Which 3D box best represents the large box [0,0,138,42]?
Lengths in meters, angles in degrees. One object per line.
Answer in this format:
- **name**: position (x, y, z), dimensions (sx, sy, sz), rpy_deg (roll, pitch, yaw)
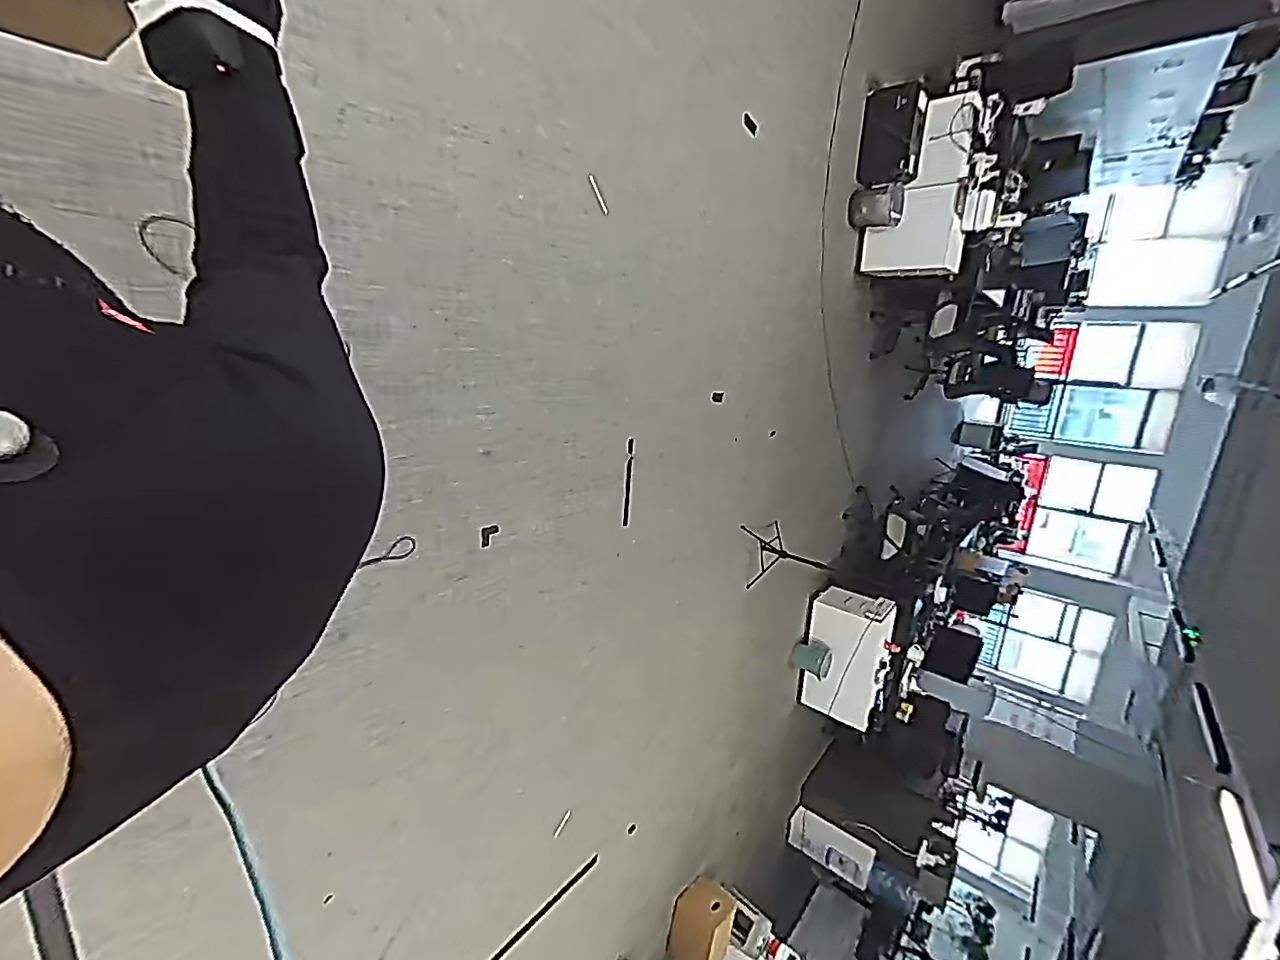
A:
- **large box**: position (-0.549, -0.503, 0.269), dimensions (0.408, 0.320, 0.320), rpy_deg (-16, 120, -49)
